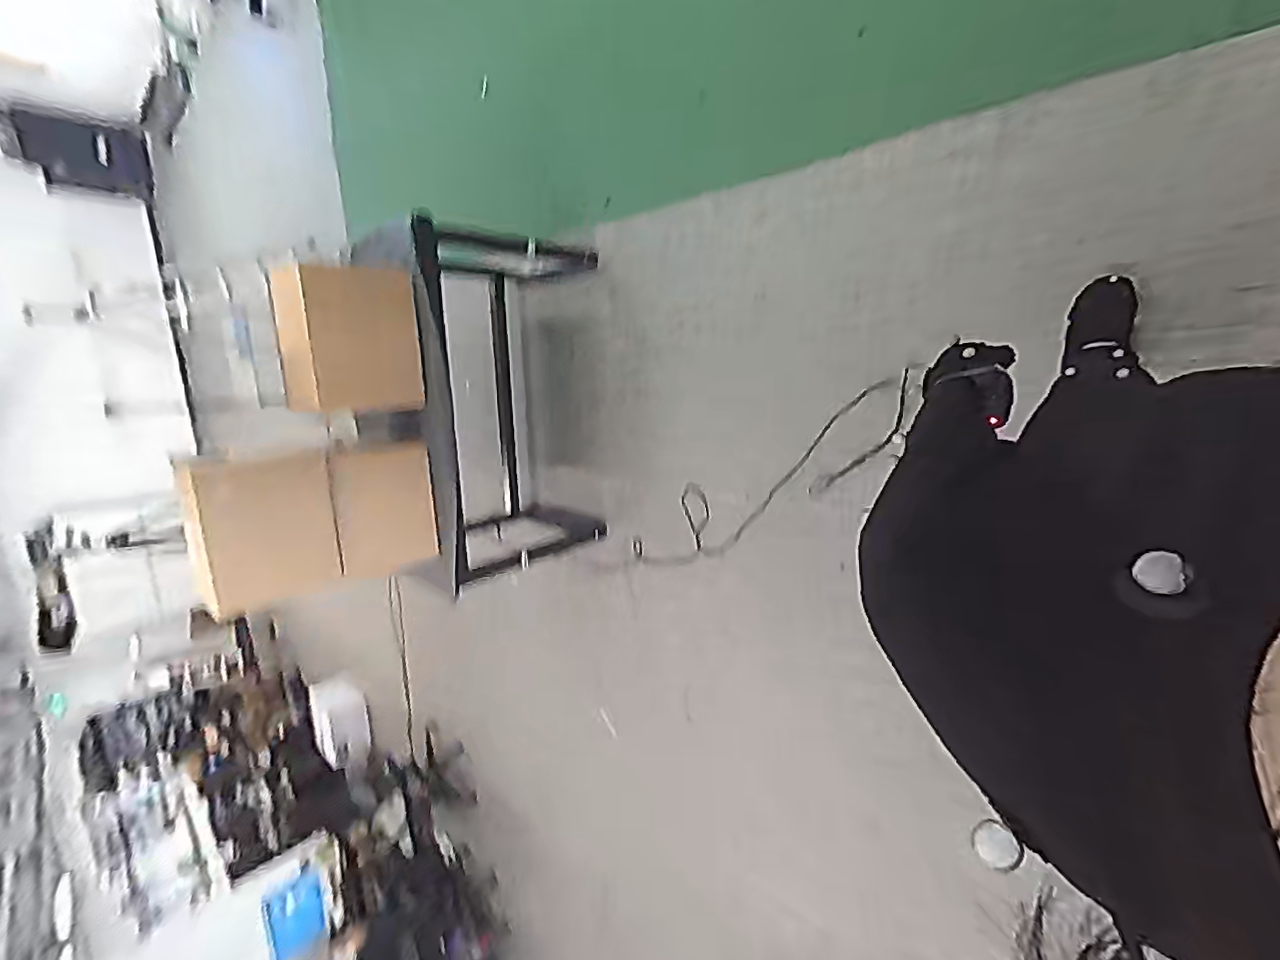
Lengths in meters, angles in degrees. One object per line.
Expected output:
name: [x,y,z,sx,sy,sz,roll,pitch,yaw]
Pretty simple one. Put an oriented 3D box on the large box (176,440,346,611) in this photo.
large box: [-1.087,0.108,1.564,0.320,0.320,0.408,10,106,41]
